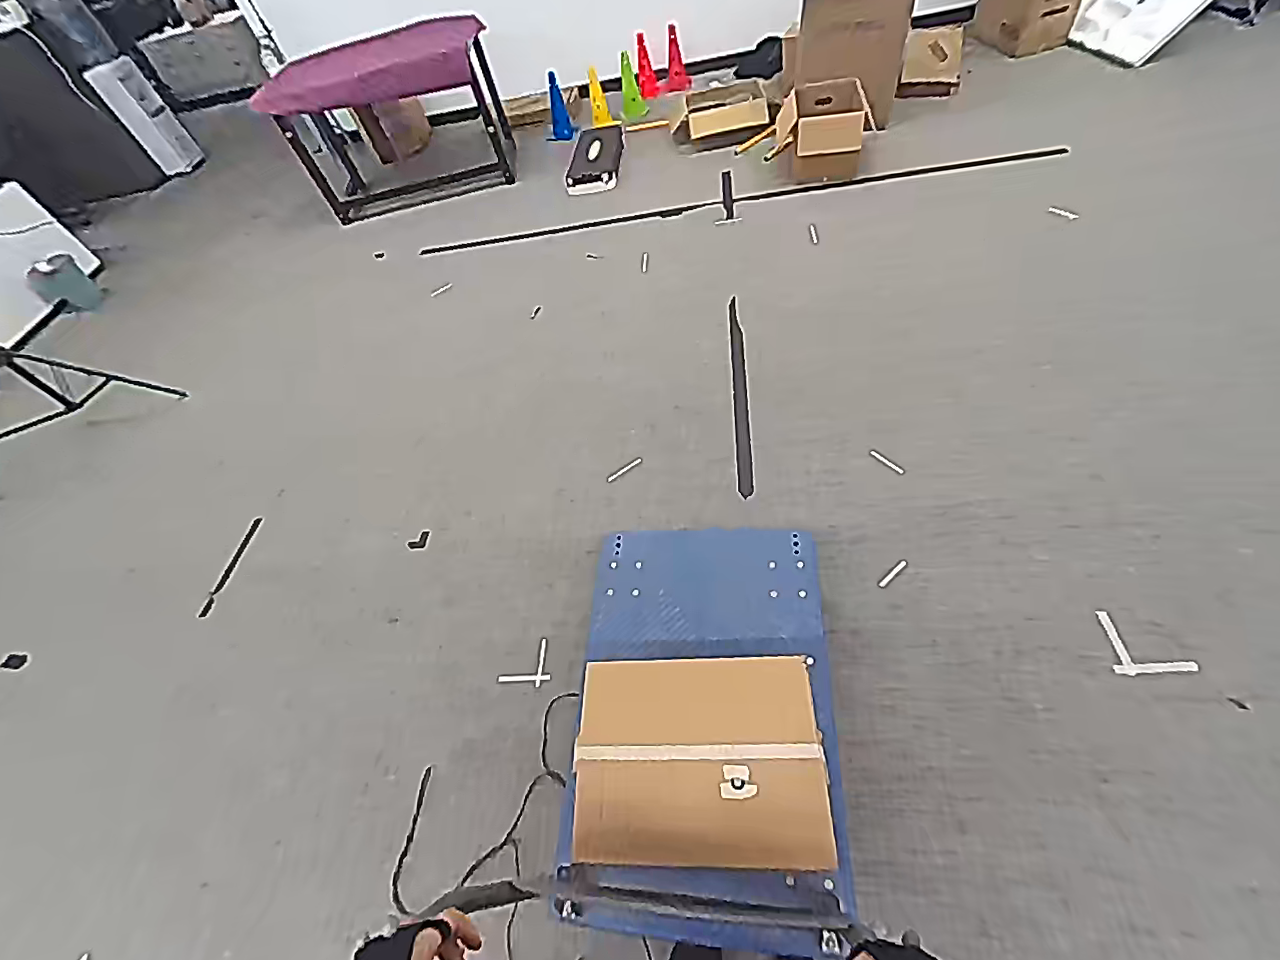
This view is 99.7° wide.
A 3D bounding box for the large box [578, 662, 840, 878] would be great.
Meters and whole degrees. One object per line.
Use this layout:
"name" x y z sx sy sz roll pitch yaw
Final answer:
"large box" 0.121 0.554 1.018 0.408 0.320 0.320 -5 53 8
